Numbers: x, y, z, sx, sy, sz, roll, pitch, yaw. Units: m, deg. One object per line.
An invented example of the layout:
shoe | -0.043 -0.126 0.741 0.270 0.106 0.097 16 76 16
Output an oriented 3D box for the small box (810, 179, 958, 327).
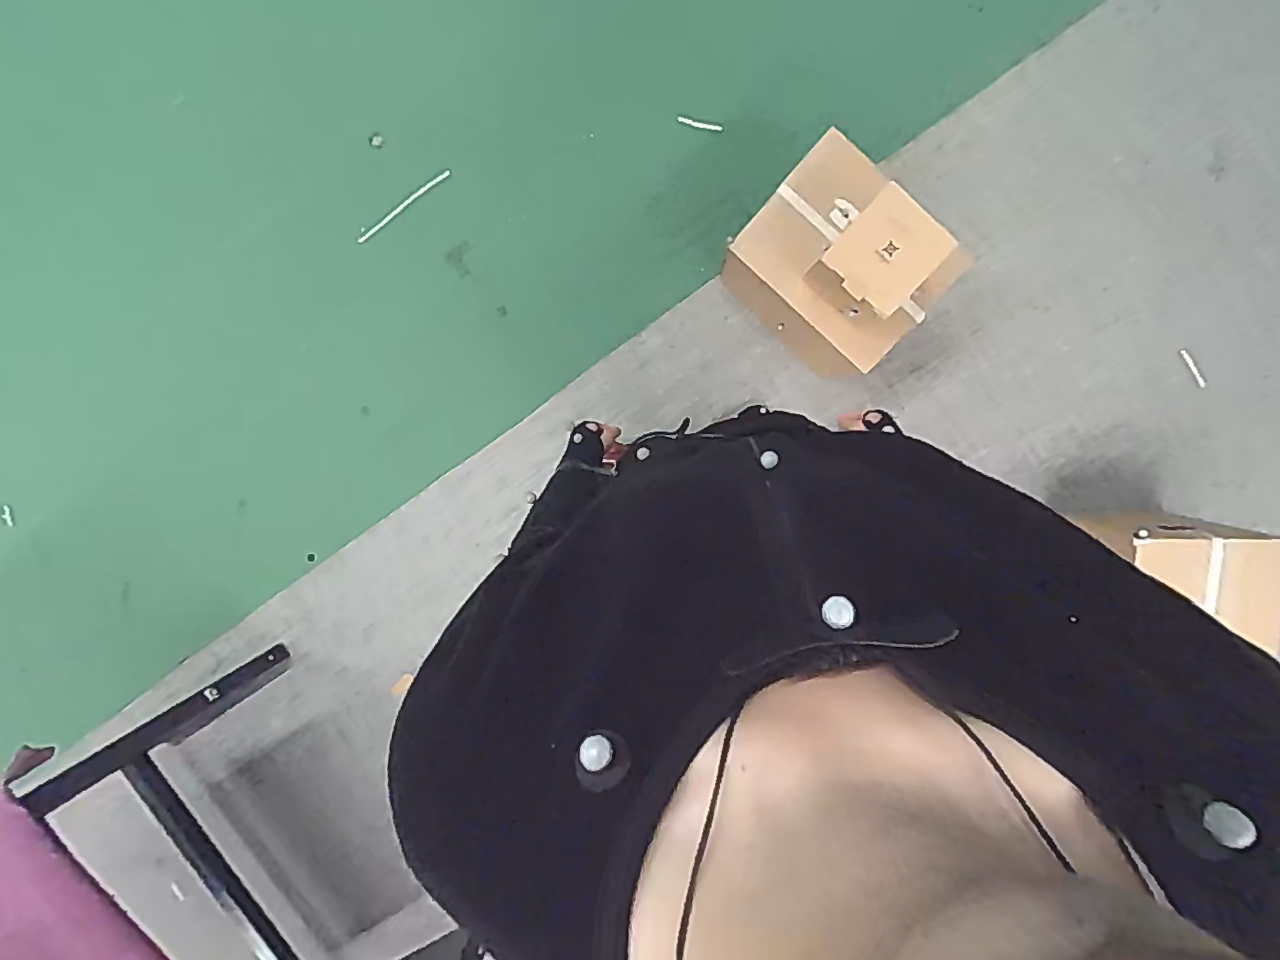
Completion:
small box | 0.444 -0.413 1.023 0.168 0.176 0.179 43 99 -2

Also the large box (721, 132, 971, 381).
large box | 0.443 -0.482 1.263 0.408 0.320 0.320 42 98 0
